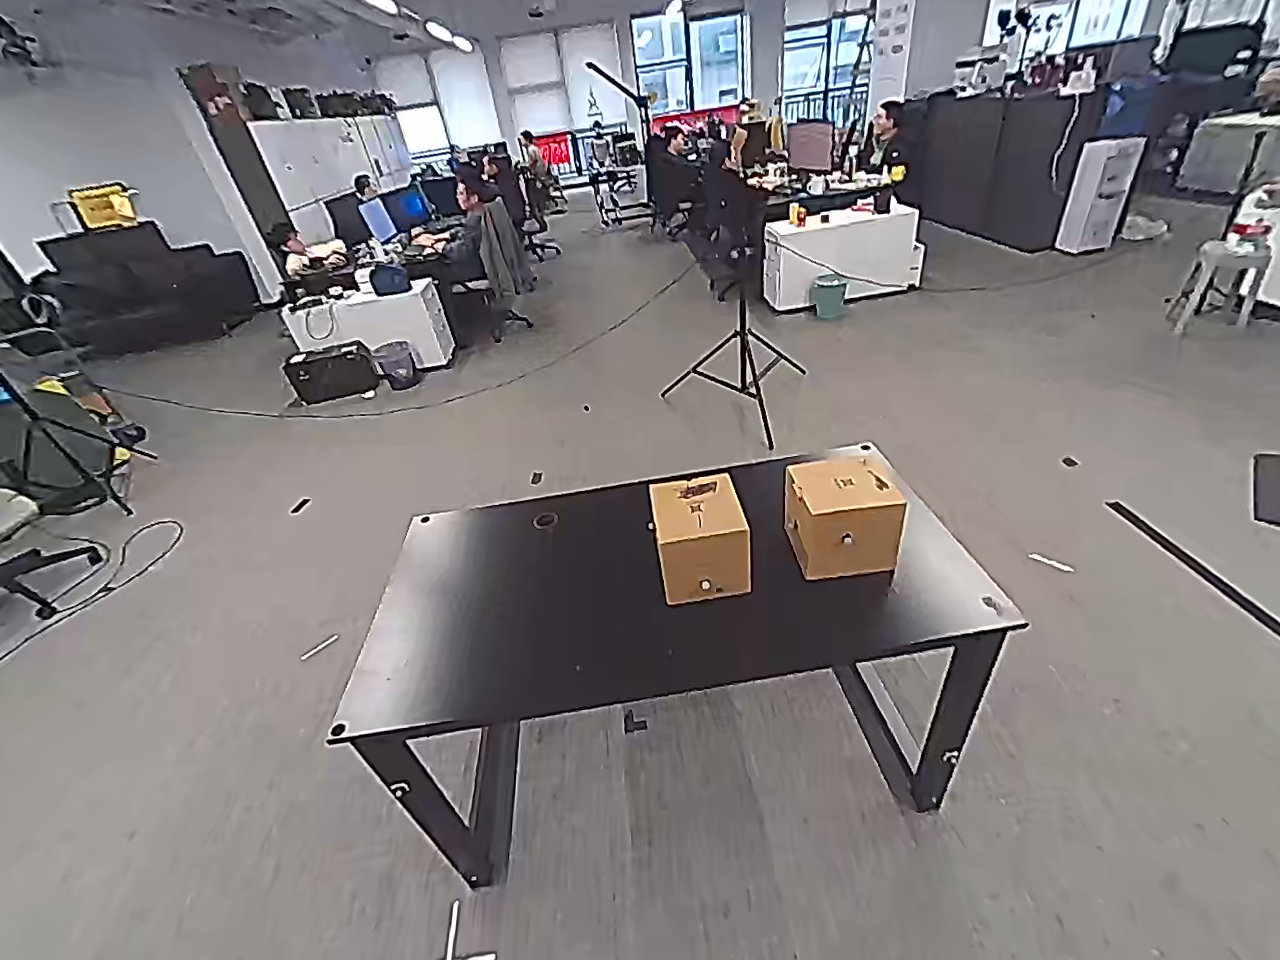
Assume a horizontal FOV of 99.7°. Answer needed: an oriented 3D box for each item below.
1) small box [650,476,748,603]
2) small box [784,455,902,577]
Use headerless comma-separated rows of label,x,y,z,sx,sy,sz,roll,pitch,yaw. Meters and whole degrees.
small box,0.115,0.117,1.076,0.168,0.176,0.179,-9,35,0
small box,0.393,0.074,1.073,0.179,0.176,0.168,-8,35,3
